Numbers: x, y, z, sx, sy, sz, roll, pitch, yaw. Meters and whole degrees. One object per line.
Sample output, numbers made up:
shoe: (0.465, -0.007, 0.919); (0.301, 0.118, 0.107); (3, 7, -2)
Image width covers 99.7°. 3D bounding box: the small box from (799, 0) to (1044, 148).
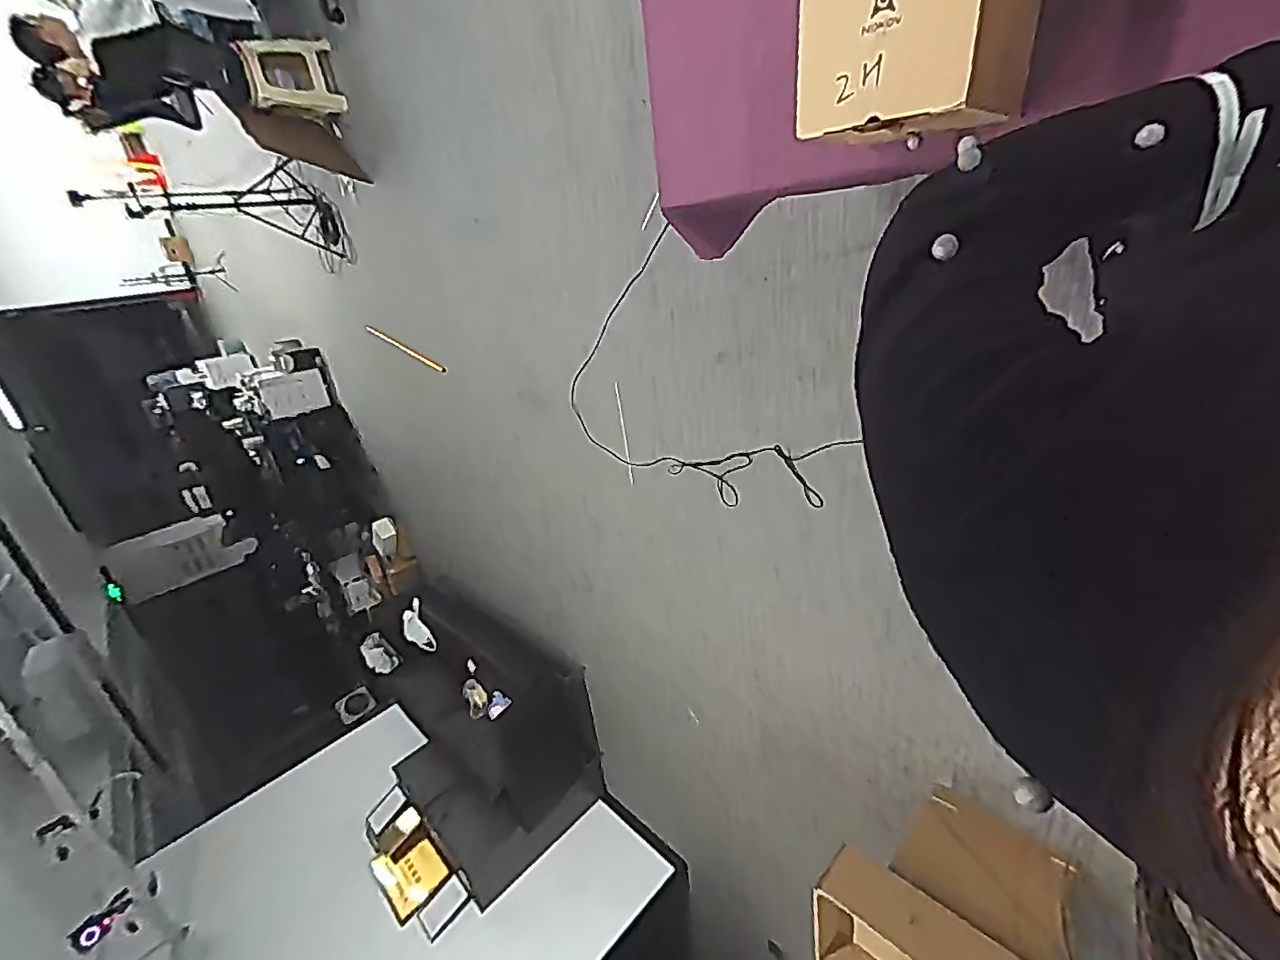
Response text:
small box: (0.279, -0.444, 0.537); (0.168, 0.176, 0.179); (21, 125, 43)
